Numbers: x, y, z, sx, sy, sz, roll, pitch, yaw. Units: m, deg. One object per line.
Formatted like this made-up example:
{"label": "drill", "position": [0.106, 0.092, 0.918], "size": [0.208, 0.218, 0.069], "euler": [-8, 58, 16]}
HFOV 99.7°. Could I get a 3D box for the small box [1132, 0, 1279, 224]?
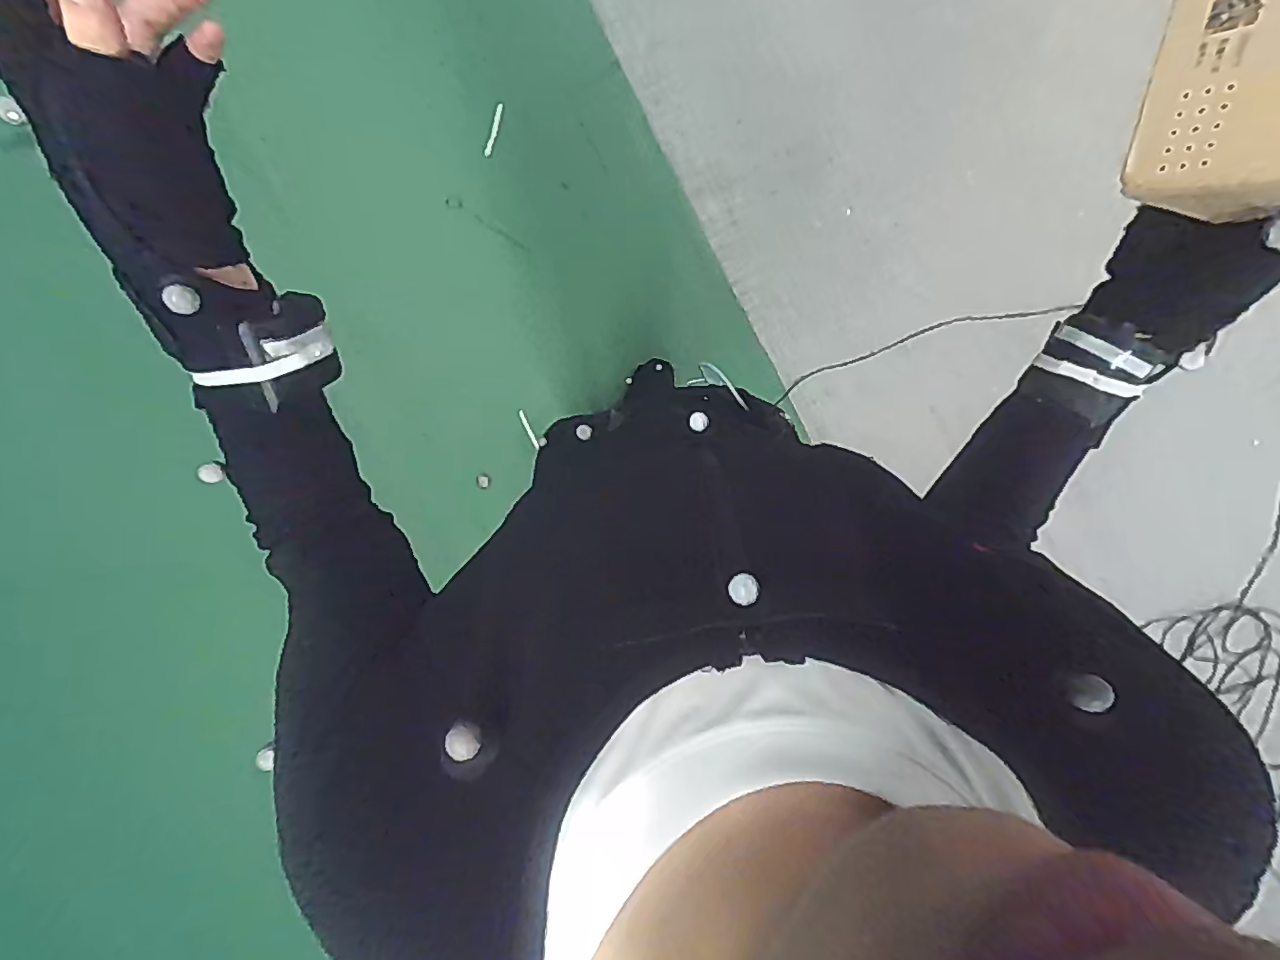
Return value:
{"label": "small box", "position": [0.329, -0.188, 0.188], "size": [0.179, 0.176, 0.168], "euler": [-10, 114, -32]}
